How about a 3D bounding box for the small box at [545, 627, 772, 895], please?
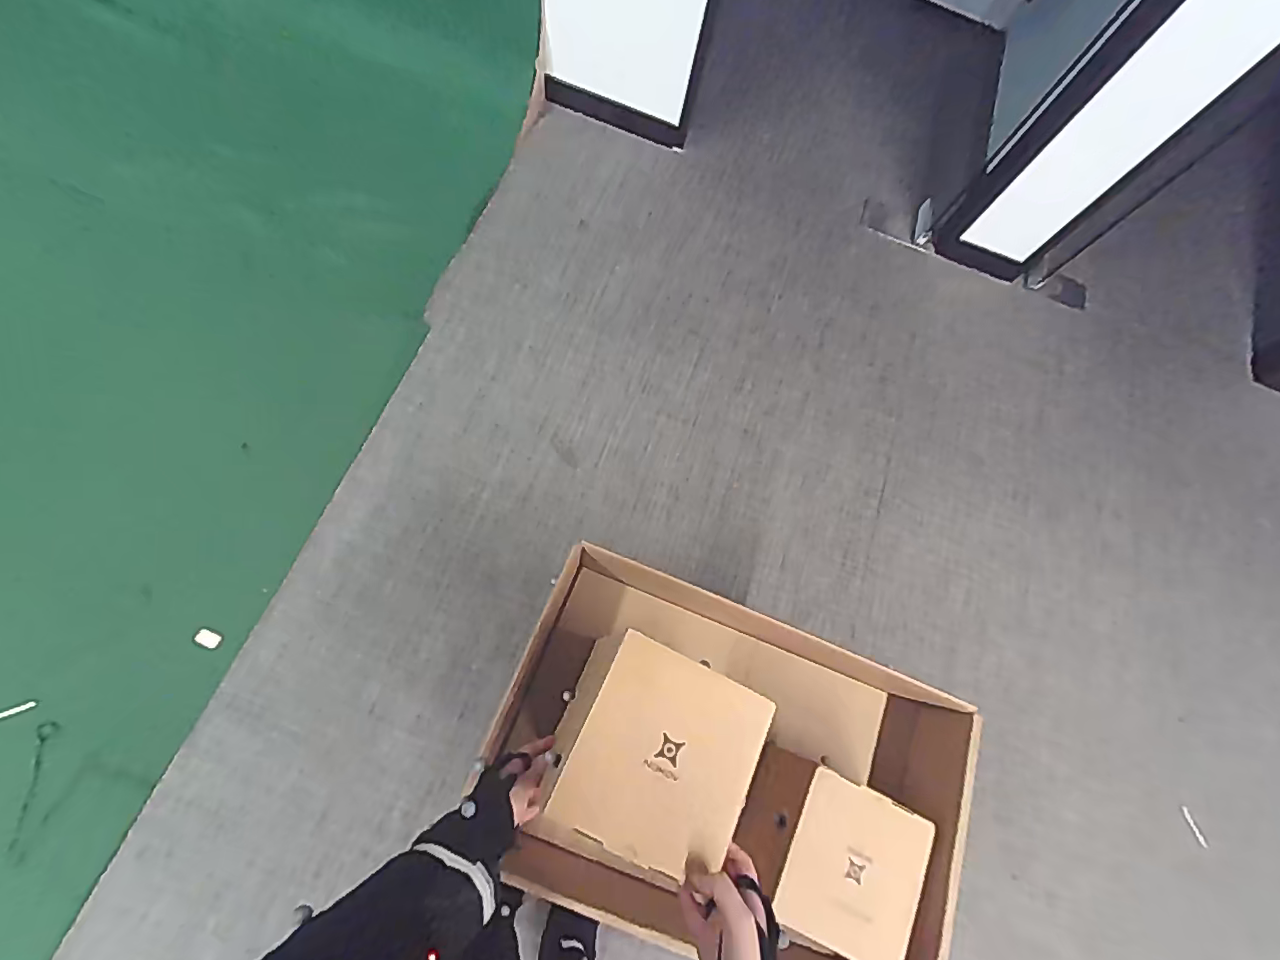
[{"bbox_3d":[0.008,0.275,0.568,0.168,0.176,0.179,28,68,-2],"label":"small box"}]
